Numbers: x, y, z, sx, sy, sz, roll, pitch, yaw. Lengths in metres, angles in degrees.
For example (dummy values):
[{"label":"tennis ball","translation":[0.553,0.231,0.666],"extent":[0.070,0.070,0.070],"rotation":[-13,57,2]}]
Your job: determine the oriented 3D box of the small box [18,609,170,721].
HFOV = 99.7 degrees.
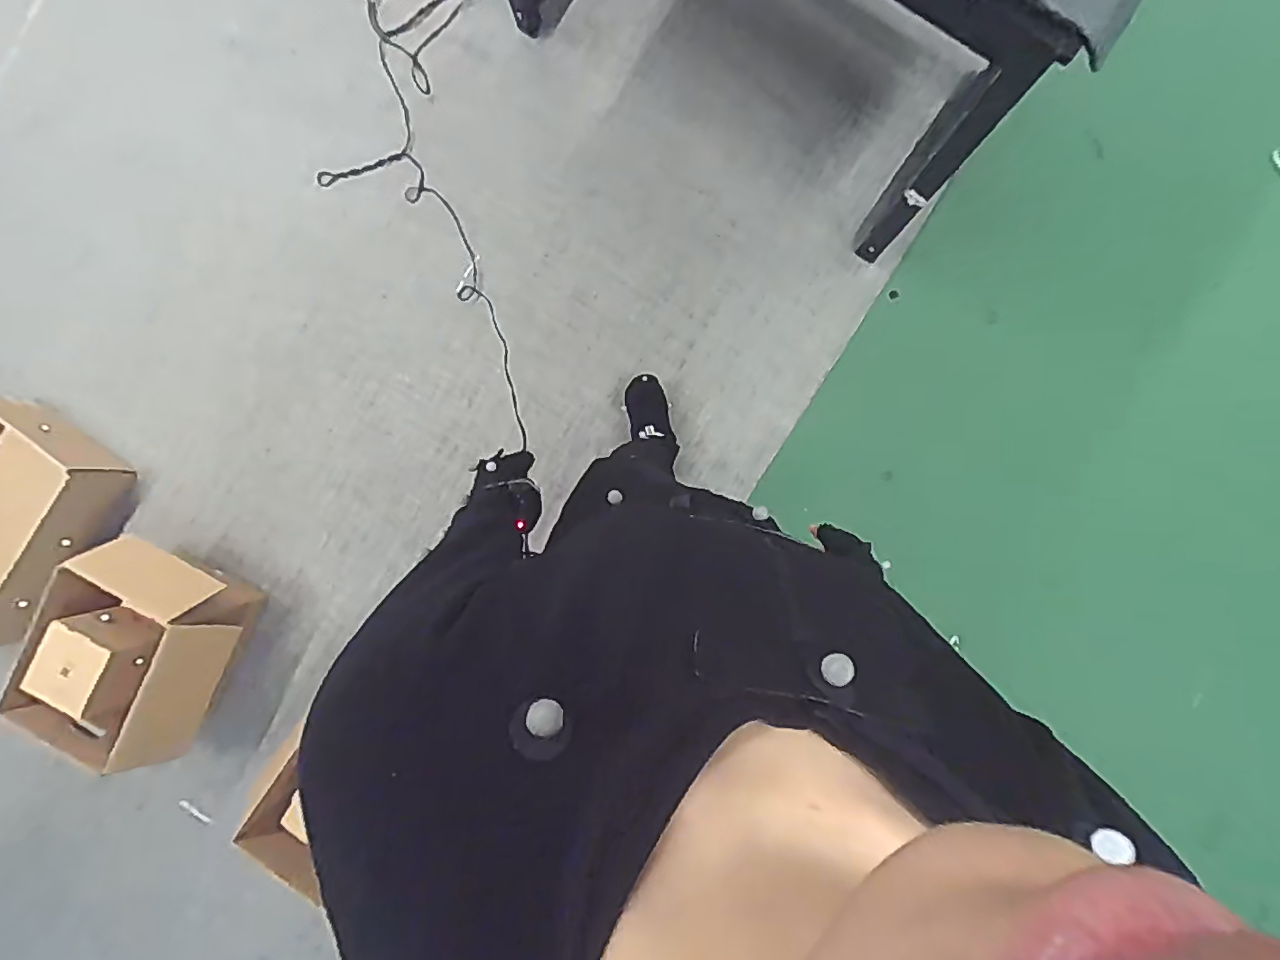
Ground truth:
[{"label":"small box","translation":[-1.294,0.432,1.298],"extent":[0.168,0.176,0.179],"rotation":[26,90,4]}]
